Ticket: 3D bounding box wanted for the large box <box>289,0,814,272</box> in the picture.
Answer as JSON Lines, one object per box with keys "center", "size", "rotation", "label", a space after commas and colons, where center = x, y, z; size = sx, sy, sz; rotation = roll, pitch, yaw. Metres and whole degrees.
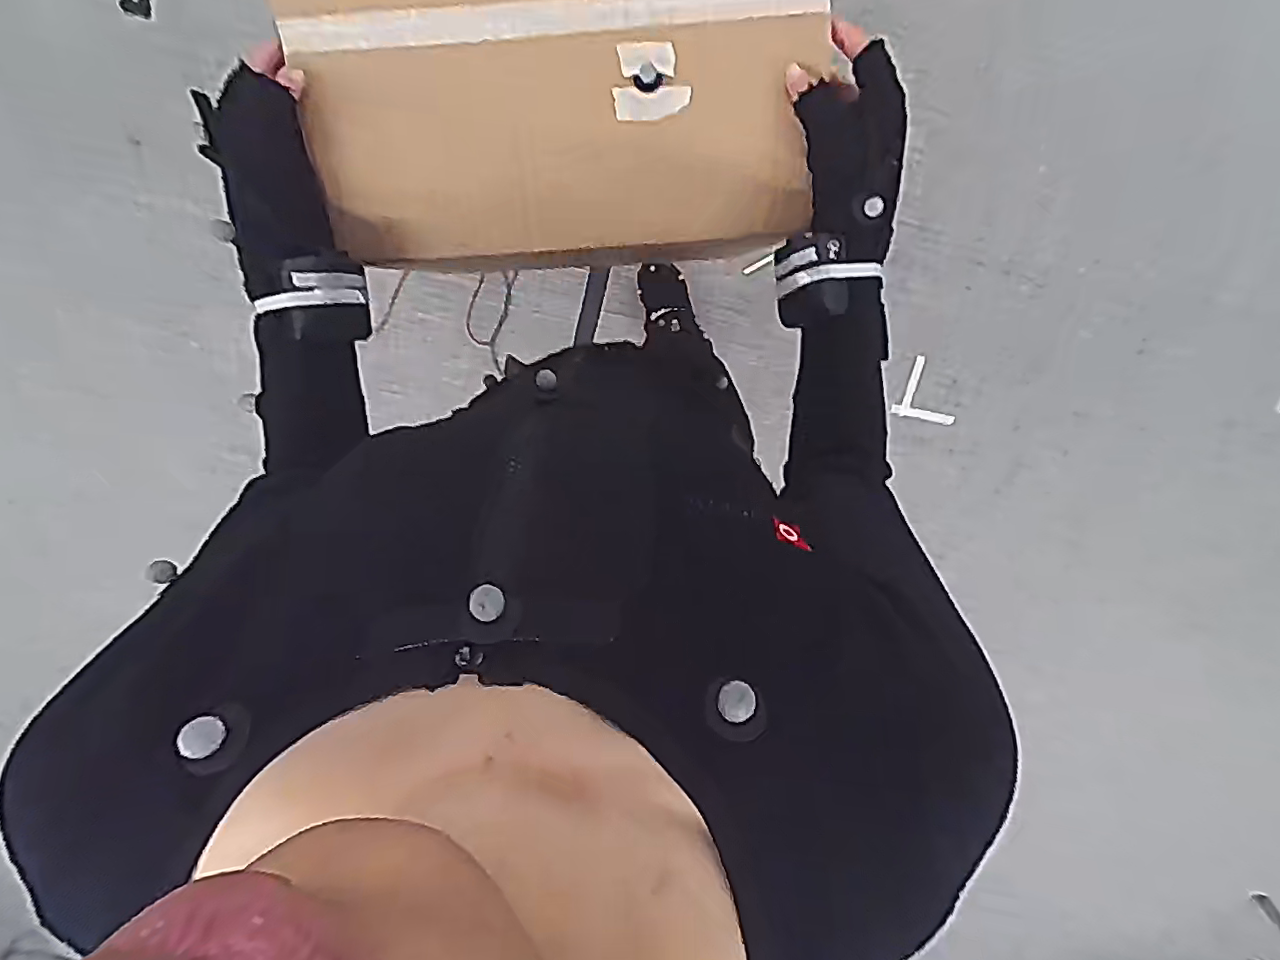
{"center": [-0.069, -0.401, 0.552], "size": [0.408, 0.320, 0.320], "rotation": [-5, 109, 0], "label": "large box"}
